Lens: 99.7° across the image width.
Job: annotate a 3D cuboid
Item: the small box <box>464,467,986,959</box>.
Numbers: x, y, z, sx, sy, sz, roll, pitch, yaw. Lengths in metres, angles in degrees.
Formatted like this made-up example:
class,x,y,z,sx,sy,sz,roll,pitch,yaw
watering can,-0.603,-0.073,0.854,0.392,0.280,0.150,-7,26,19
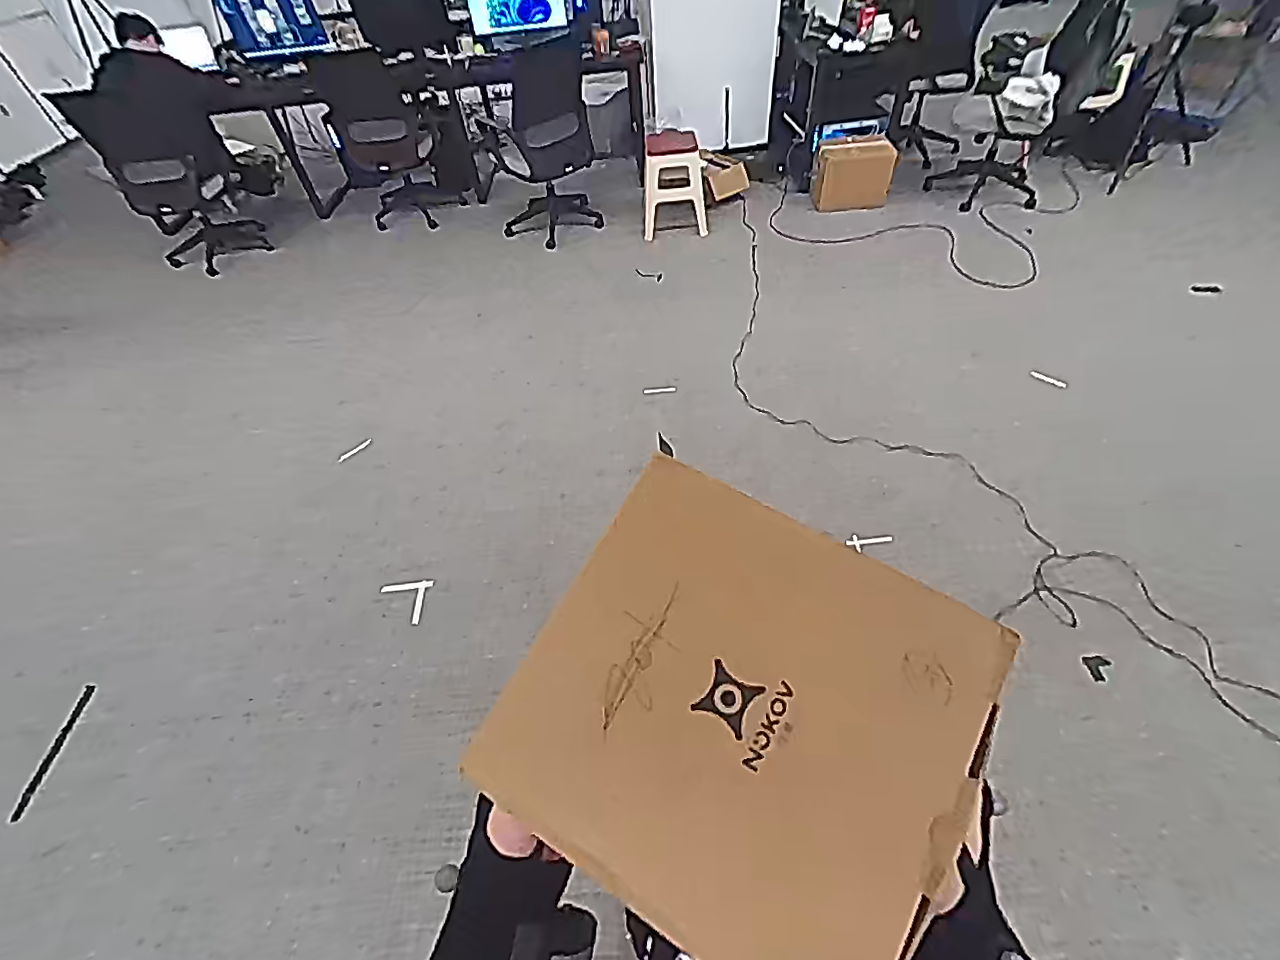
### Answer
class,x,y,z,sx,sy,sz,roll,pitch,yaw
small box,0.044,0.124,0.308,0.179,0.176,0.168,27,73,16
